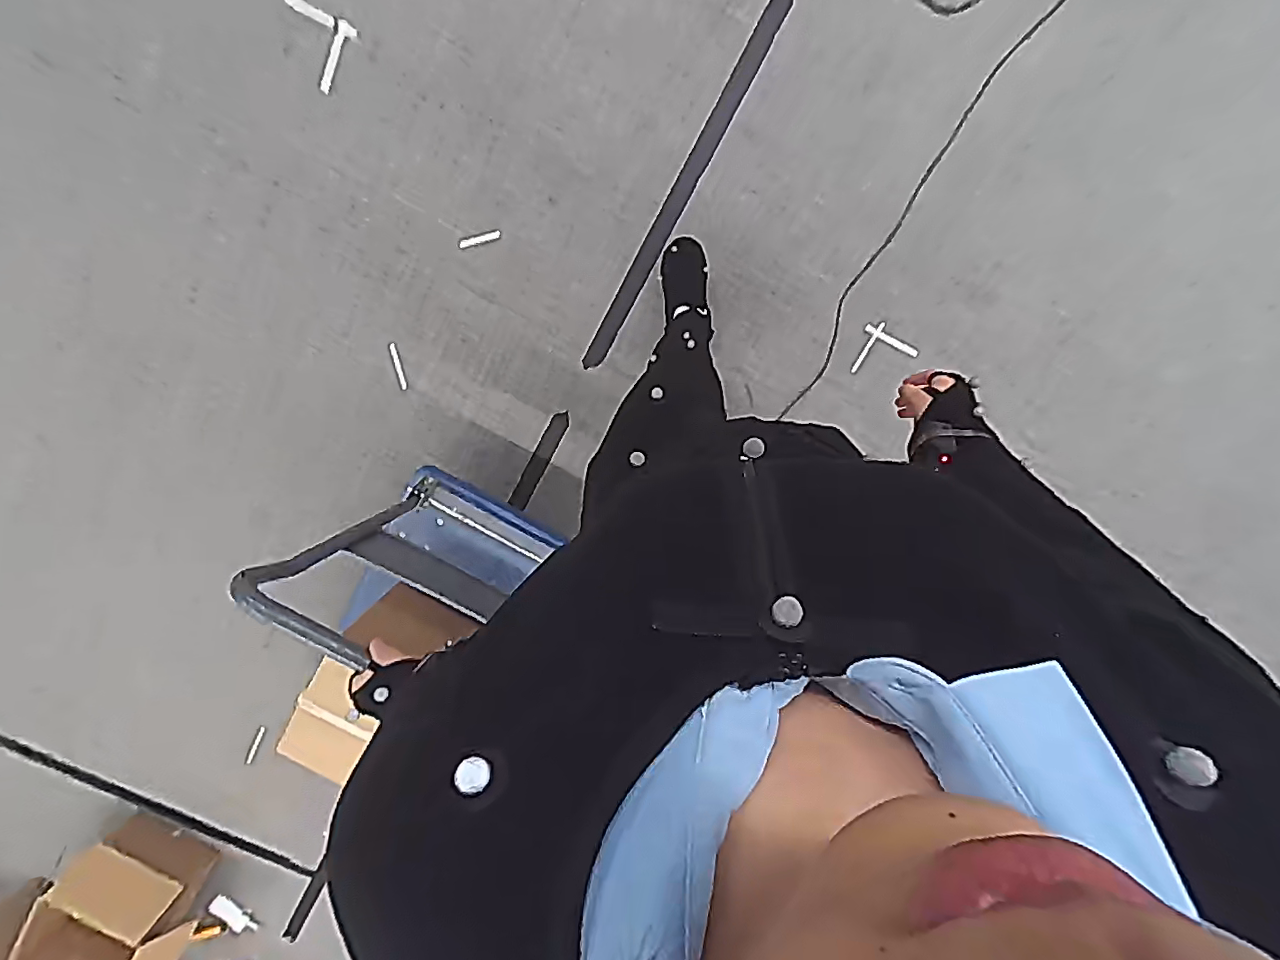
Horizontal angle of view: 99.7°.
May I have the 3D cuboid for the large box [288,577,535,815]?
[{"bbox_3d":[-0.526,0.502,1.315,0.408,0.320,0.320,31,103,-7],"label":"large box"}]
